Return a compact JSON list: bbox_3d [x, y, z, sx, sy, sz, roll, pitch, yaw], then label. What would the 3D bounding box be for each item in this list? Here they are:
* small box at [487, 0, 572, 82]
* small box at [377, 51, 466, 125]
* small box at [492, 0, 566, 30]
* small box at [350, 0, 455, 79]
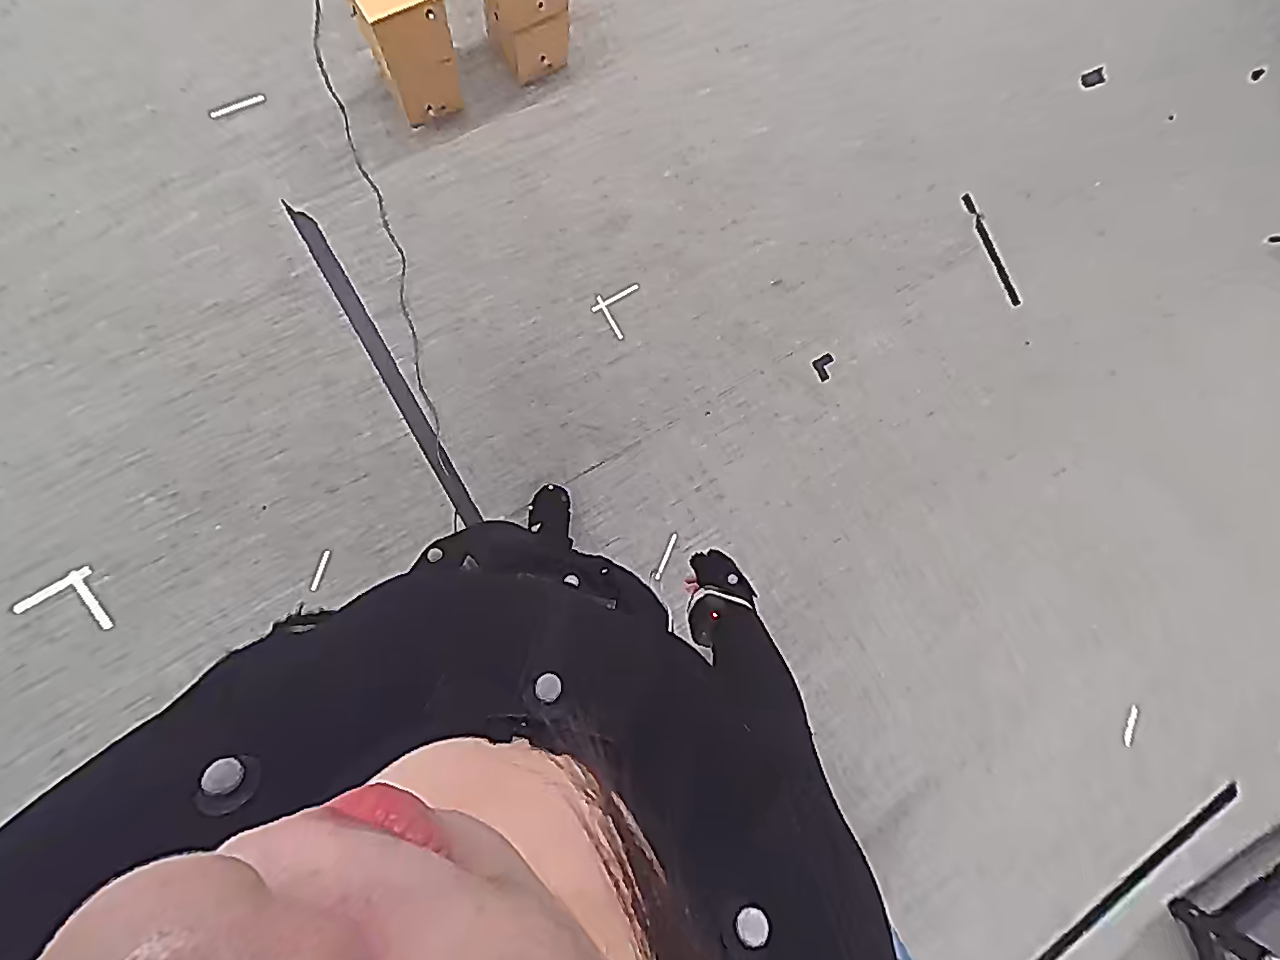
[{"bbox_3d":[-0.299,-1.232,1.450,0.168,0.176,0.179,-32,94,-9],"label":"small box"},{"bbox_3d":[-0.572,-1.073,1.397,0.168,0.176,0.179,-28,93,-9],"label":"small box"},{"bbox_3d":[-0.277,-1.238,1.286,0.179,0.176,0.168,-32,93,-11],"label":"small box"},{"bbox_3d":[-0.551,-1.075,1.236,0.179,0.176,0.168,-32,93,-9],"label":"small box"}]
